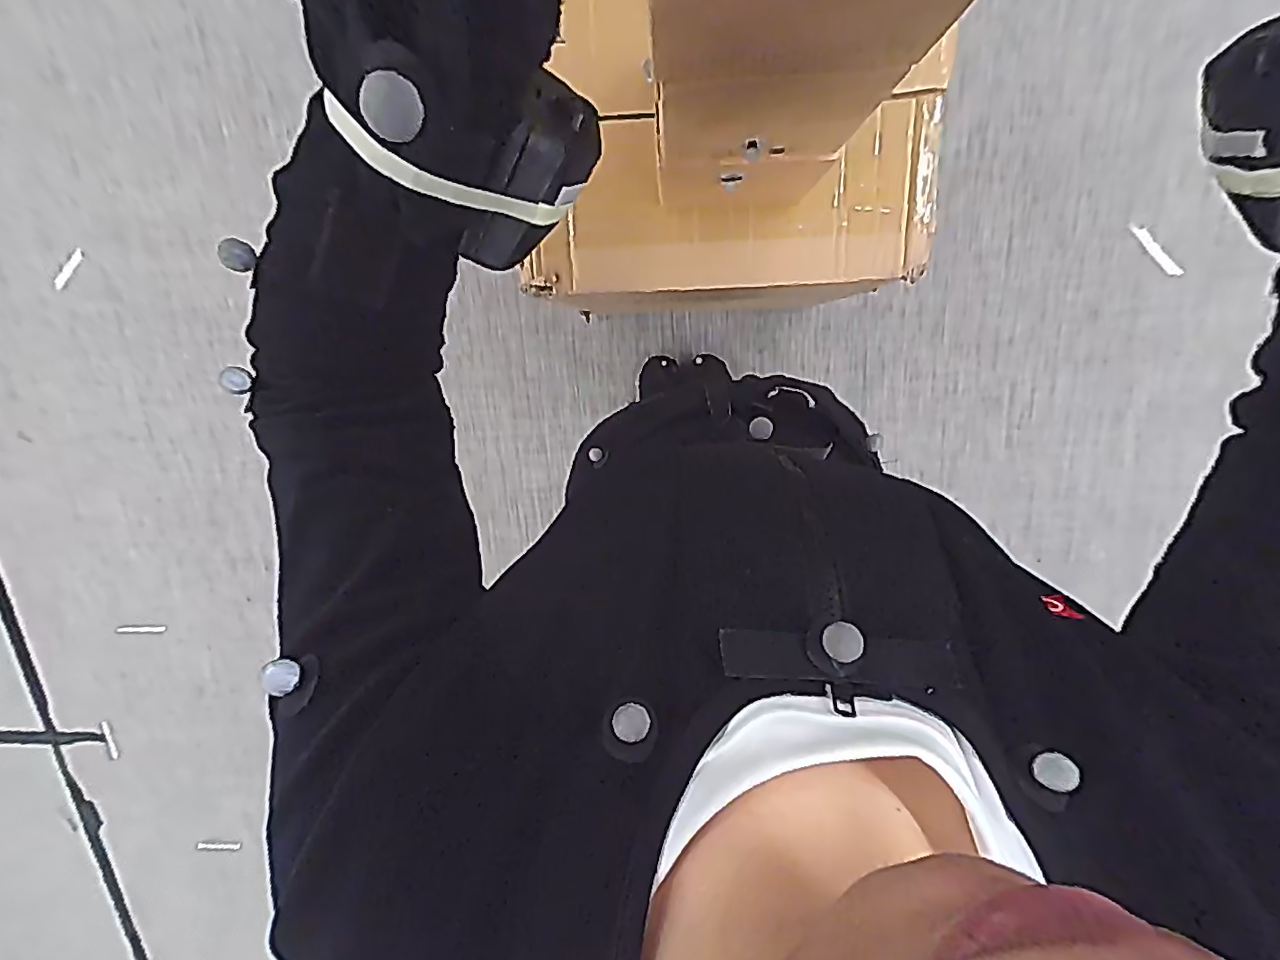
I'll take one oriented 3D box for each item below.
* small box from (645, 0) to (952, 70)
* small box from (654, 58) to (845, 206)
[{"bbox_3d":[0.087,-0.328,0.255,0.179,0.176,0.168,-1,104,4],"label":"small box"},{"bbox_3d":[0.106,-0.402,0.575,0.179,0.176,0.168,-1,104,3],"label":"small box"}]
